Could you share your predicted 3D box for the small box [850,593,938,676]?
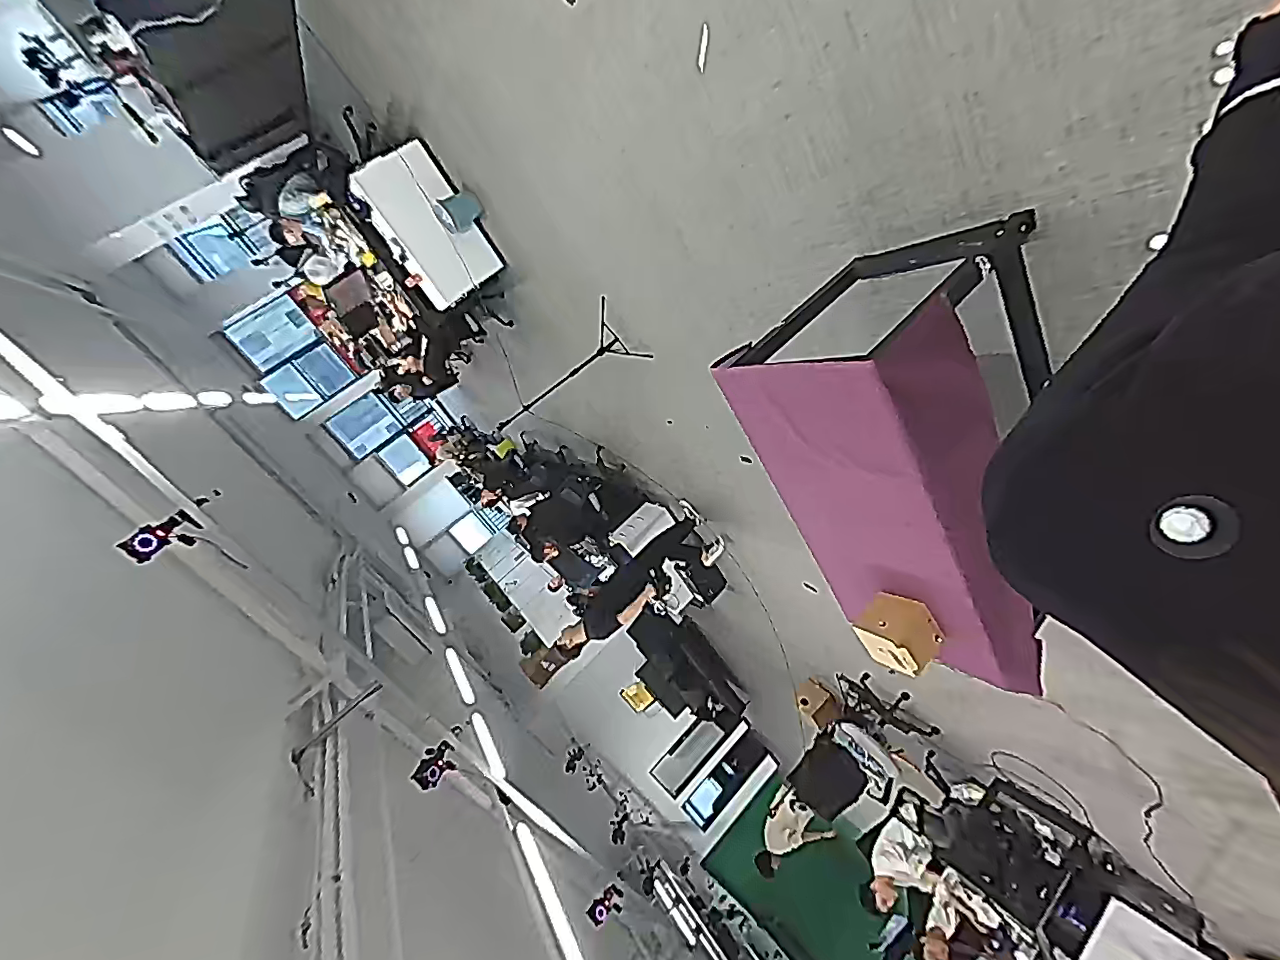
[{"bbox_3d":[0.831,0.492,1.753,0.168,0.176,0.179,54,163,-16],"label":"small box"}]
